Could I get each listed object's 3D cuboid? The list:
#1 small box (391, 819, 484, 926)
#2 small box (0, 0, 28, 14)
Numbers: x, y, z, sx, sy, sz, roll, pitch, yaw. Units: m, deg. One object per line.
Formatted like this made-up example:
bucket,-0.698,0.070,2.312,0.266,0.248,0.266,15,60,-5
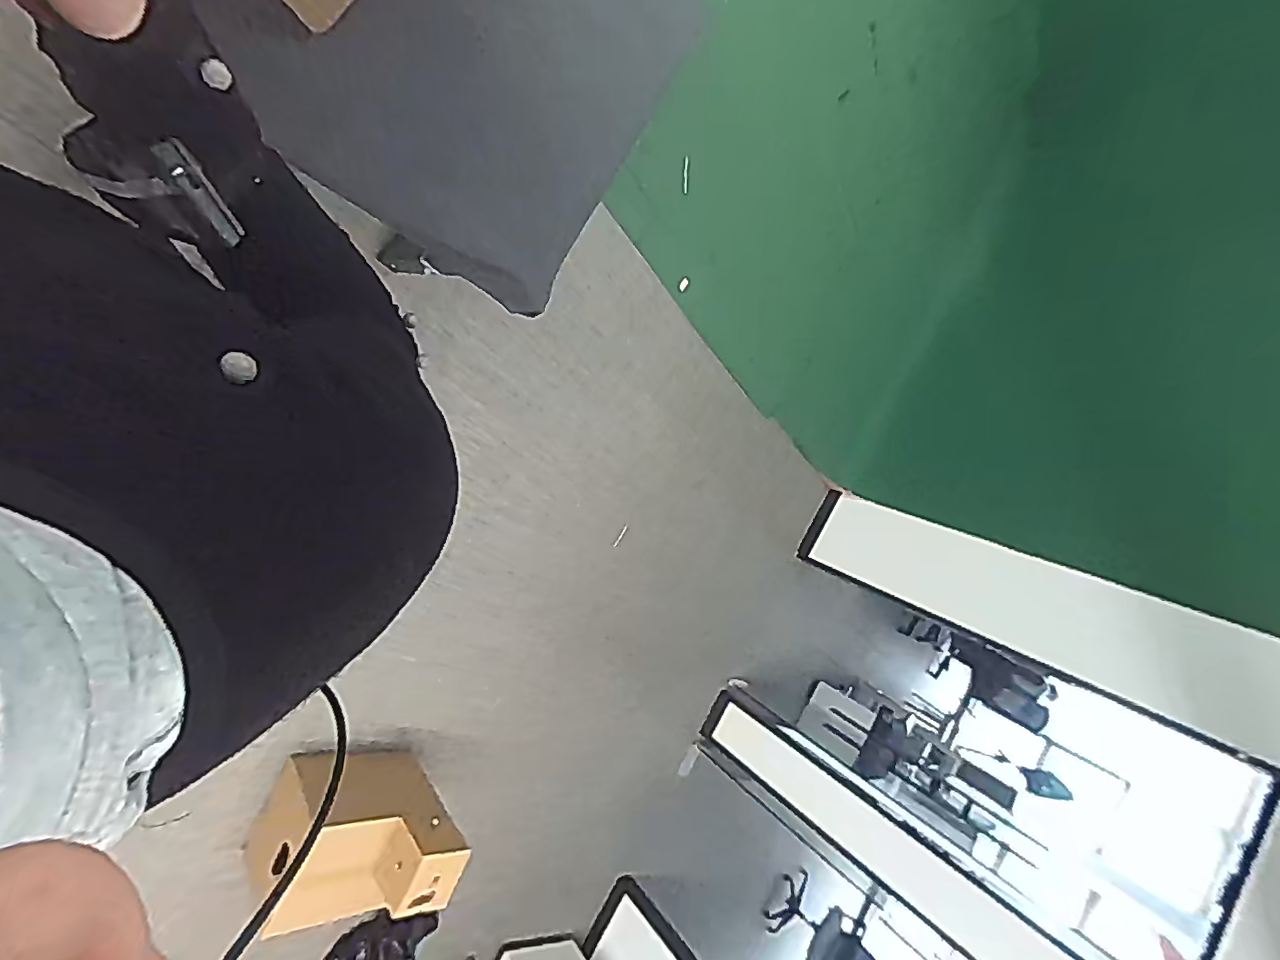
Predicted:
small box,-0.590,1.121,1.560,0.168,0.176,0.179,31,79,-46
small box,-0.250,-0.208,0.087,0.179,0.176,0.168,-7,124,-42
